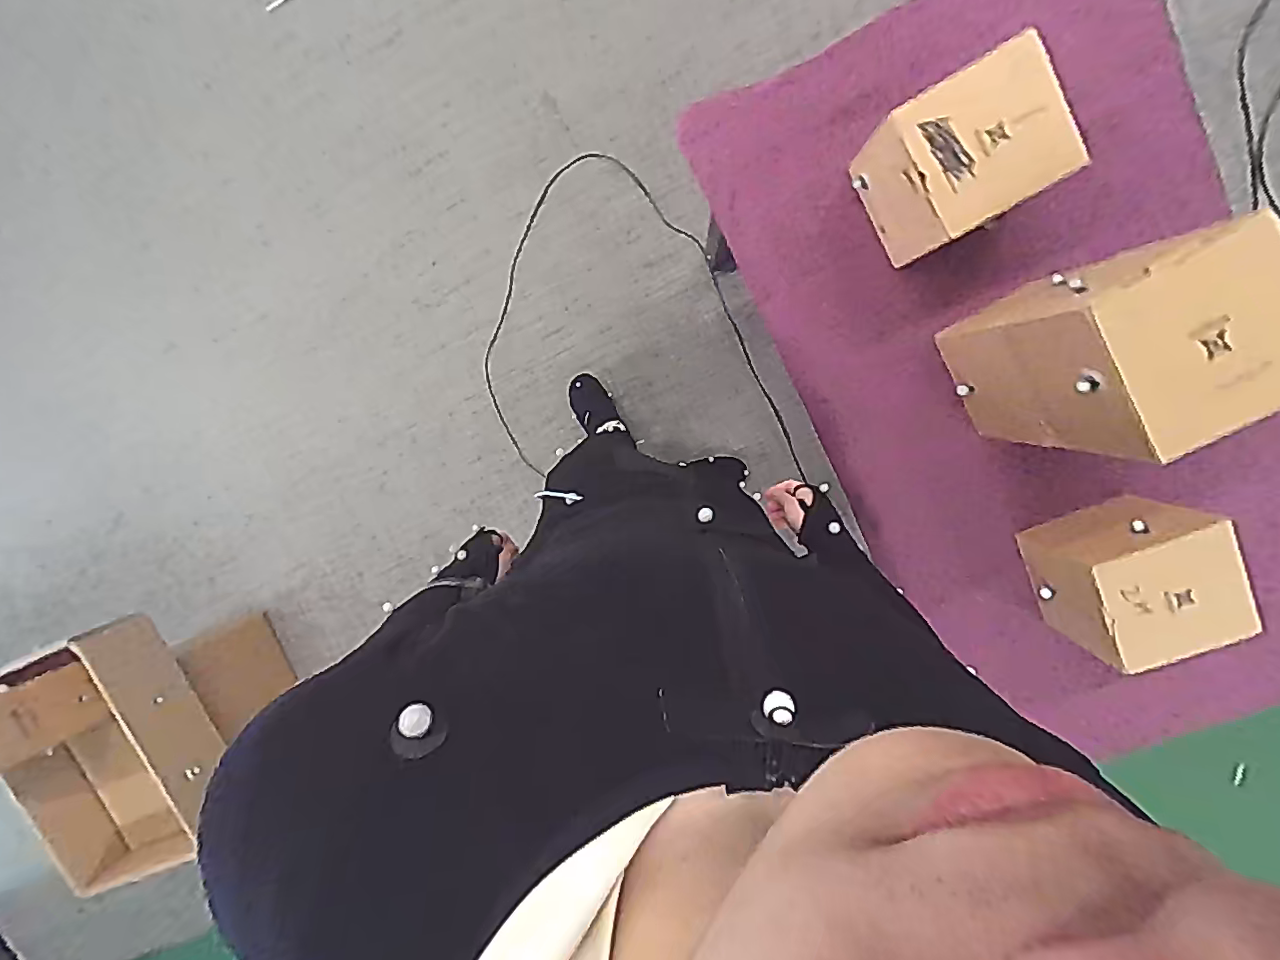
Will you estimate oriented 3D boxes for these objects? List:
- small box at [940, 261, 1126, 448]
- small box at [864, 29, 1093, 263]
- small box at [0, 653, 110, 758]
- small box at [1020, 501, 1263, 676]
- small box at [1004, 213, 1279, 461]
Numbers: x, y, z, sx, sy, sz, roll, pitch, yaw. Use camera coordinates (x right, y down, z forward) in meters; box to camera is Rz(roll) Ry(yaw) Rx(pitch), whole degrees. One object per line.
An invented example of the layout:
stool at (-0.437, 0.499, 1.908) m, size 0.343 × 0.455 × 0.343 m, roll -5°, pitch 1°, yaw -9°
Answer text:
small box at (0.554, -0.165, 0.738) m, size 0.168 × 0.176 × 0.179 m, roll -28°, pitch 97°, yaw 9°
small box at (0.416, -0.411, 0.705) m, size 0.179 × 0.176 × 0.168 m, roll -28°, pitch 97°, yaw 8°
small box at (-1.512, 0.565, 1.356) m, size 0.179 × 0.176 × 0.168 m, roll -22°, pitch 96°, yaw 7°
small box at (0.703, 0.144, 0.778) m, size 0.179 × 0.176 × 0.168 m, roll -22°, pitch 96°, yaw 8°
small box at (0.538, -0.139, 0.577) m, size 0.168 × 0.176 × 0.179 m, roll -28°, pitch 96°, yaw 10°
